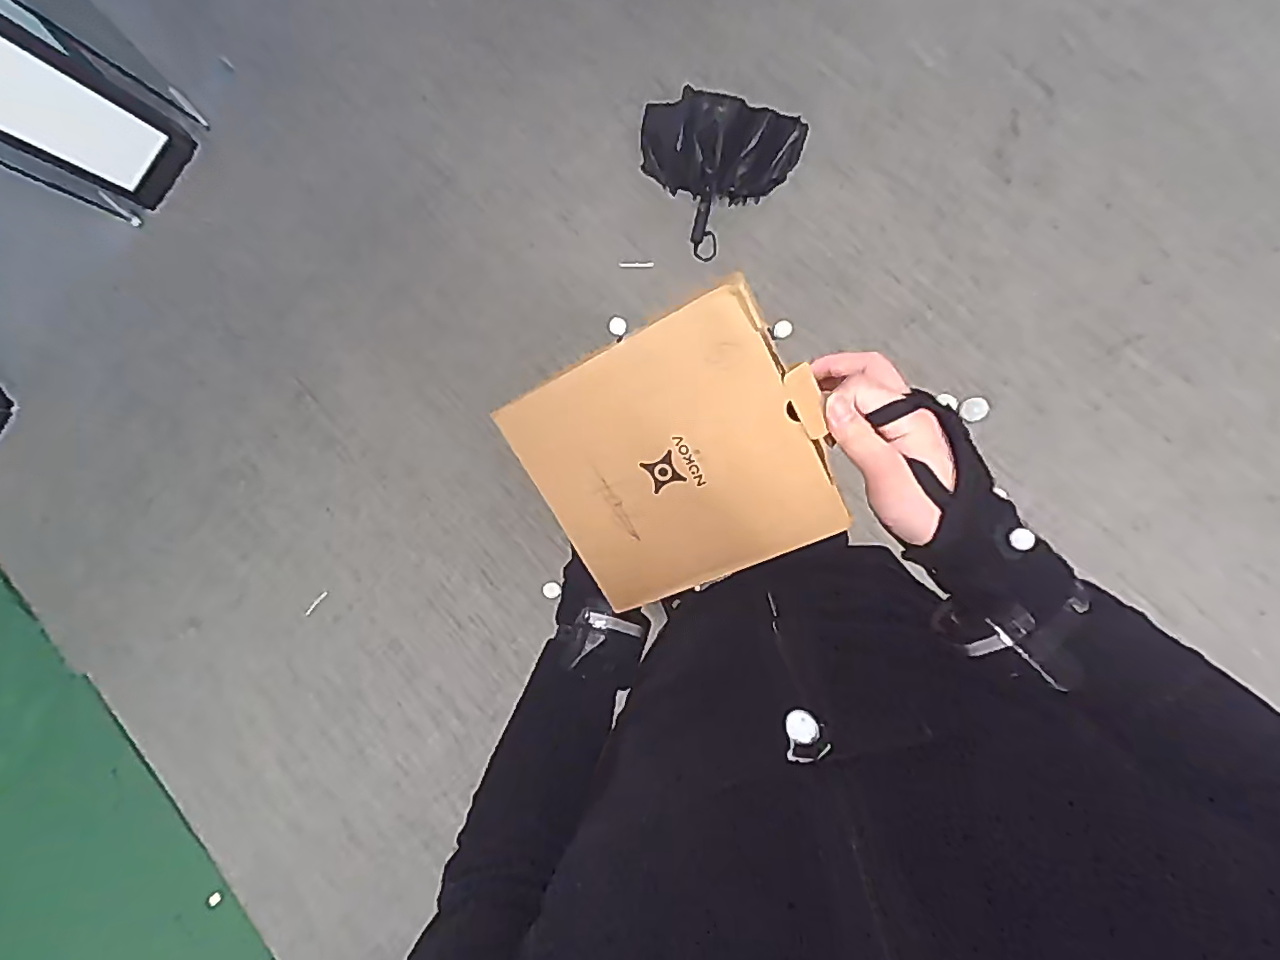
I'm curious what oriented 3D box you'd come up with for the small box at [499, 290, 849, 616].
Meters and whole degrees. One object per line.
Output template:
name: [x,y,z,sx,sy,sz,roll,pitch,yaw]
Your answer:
small box: [0.033,-0.032,0.416,0.179,0.176,0.168,-26,103,20]
